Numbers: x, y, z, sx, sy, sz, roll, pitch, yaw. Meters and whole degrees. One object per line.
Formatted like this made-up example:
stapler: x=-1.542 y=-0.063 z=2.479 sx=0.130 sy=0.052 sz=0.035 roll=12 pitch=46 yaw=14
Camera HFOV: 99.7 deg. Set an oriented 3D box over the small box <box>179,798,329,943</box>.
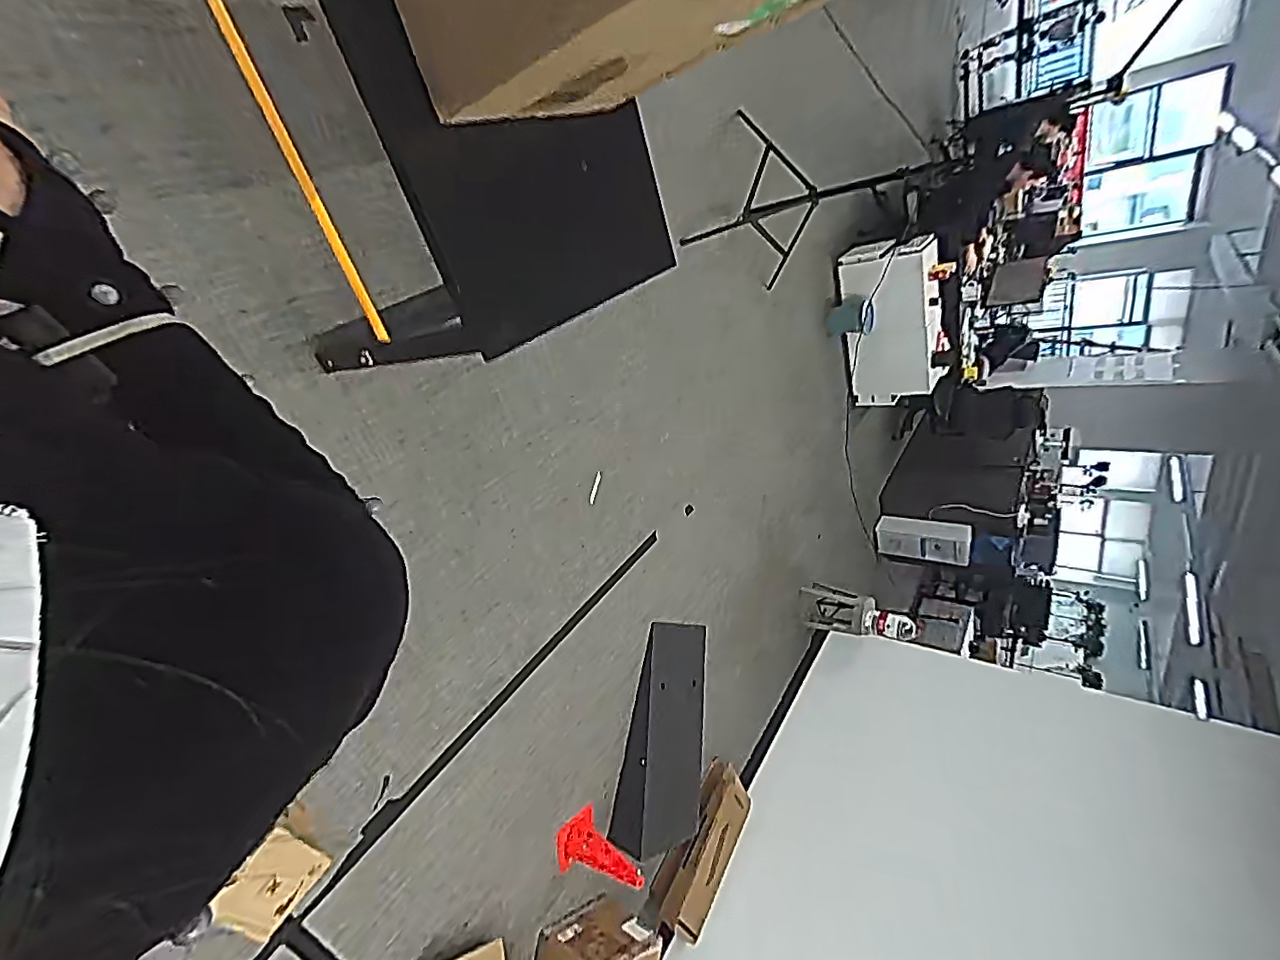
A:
small box: x=-0.809 y=0.806 z=1.134 sx=0.168 sy=0.176 sz=0.179 roll=-49 pitch=129 yaw=-36
